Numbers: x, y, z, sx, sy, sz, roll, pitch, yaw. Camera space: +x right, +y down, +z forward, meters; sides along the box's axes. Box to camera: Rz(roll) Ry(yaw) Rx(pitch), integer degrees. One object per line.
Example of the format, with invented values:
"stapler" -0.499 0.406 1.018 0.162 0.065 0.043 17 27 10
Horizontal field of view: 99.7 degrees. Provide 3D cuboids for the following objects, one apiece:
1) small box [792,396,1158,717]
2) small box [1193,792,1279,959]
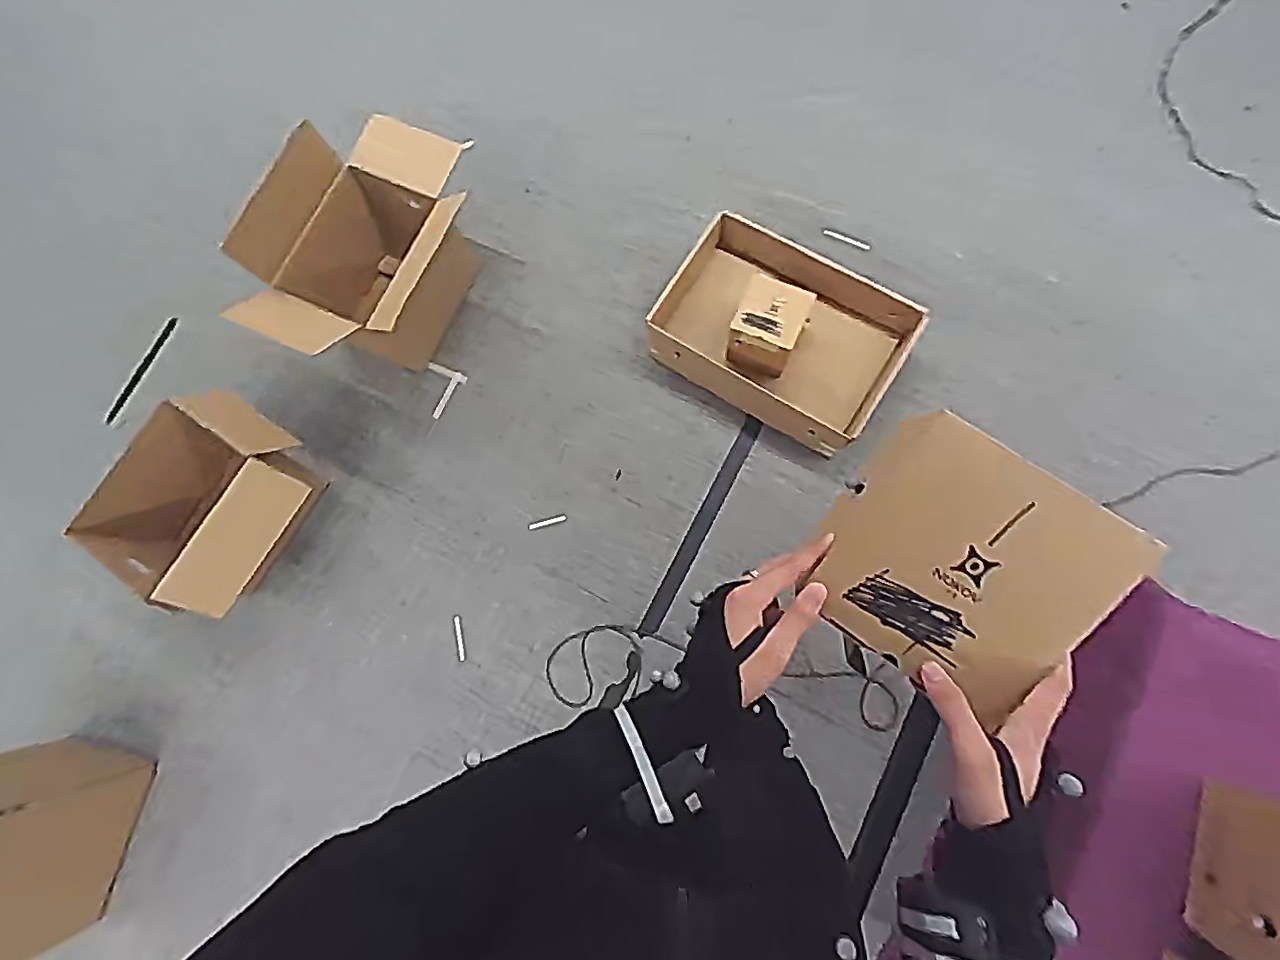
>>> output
"small box" 0.250 0.050 0.459 0.168 0.176 0.179 35 103 11
"small box" 0.717 0.441 0.532 0.179 0.176 0.168 19 82 9
